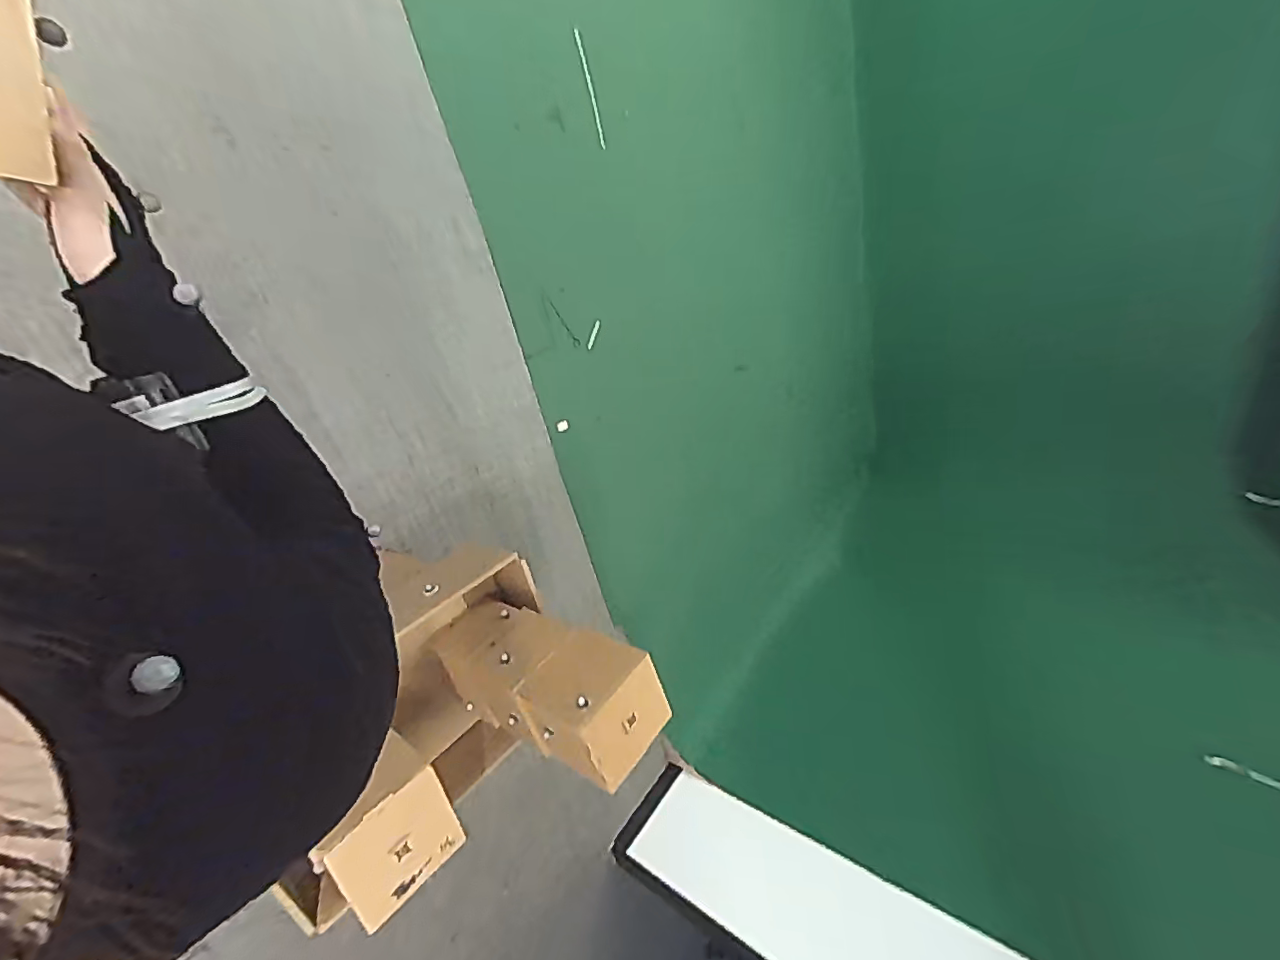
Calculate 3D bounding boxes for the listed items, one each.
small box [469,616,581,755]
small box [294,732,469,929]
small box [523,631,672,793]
[{"bbox_3d":[-0.204,0.389,1.063,0.168,0.176,0.179,-39,123,-37],"label":"small box"},{"bbox_3d":[-0.408,0.531,0.853,0.168,0.176,0.179,-32,118,-40],"label":"small box"},{"bbox_3d":[-0.074,0.400,0.964,0.179,0.176,0.168,-40,124,-36],"label":"small box"}]
